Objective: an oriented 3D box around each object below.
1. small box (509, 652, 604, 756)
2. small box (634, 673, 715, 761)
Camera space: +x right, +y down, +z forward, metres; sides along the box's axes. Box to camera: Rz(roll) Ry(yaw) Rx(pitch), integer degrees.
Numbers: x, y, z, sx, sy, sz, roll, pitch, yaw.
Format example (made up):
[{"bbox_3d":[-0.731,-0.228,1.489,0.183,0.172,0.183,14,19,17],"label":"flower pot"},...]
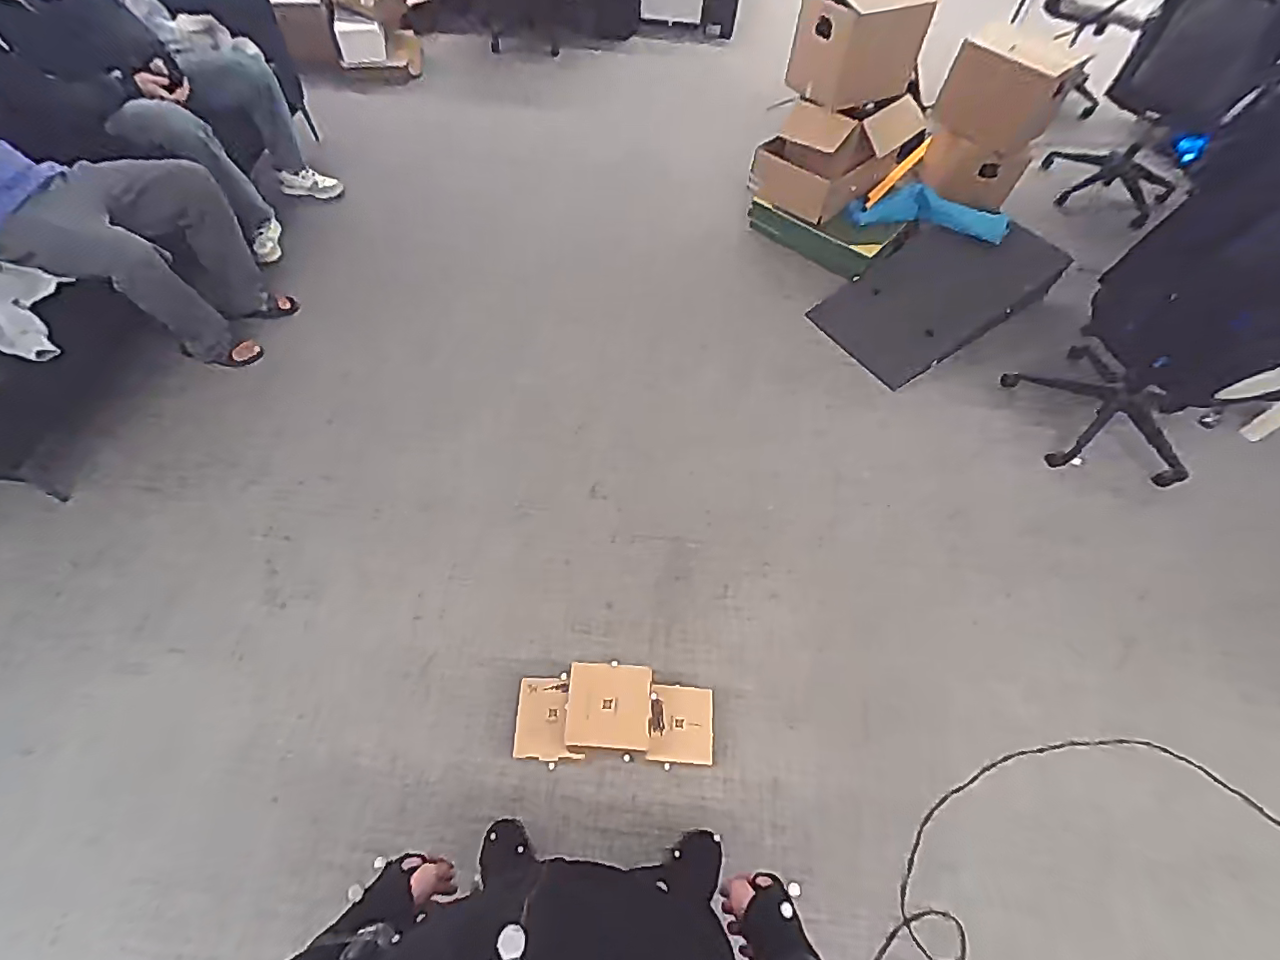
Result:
[{"bbox_3d":[-0.202,0.562,1.346,0.179,0.176,0.168,-24,60,-14],"label":"small box"},{"bbox_3d":[0.084,0.593,1.342,0.179,0.176,0.168,8,61,4],"label":"small box"}]
